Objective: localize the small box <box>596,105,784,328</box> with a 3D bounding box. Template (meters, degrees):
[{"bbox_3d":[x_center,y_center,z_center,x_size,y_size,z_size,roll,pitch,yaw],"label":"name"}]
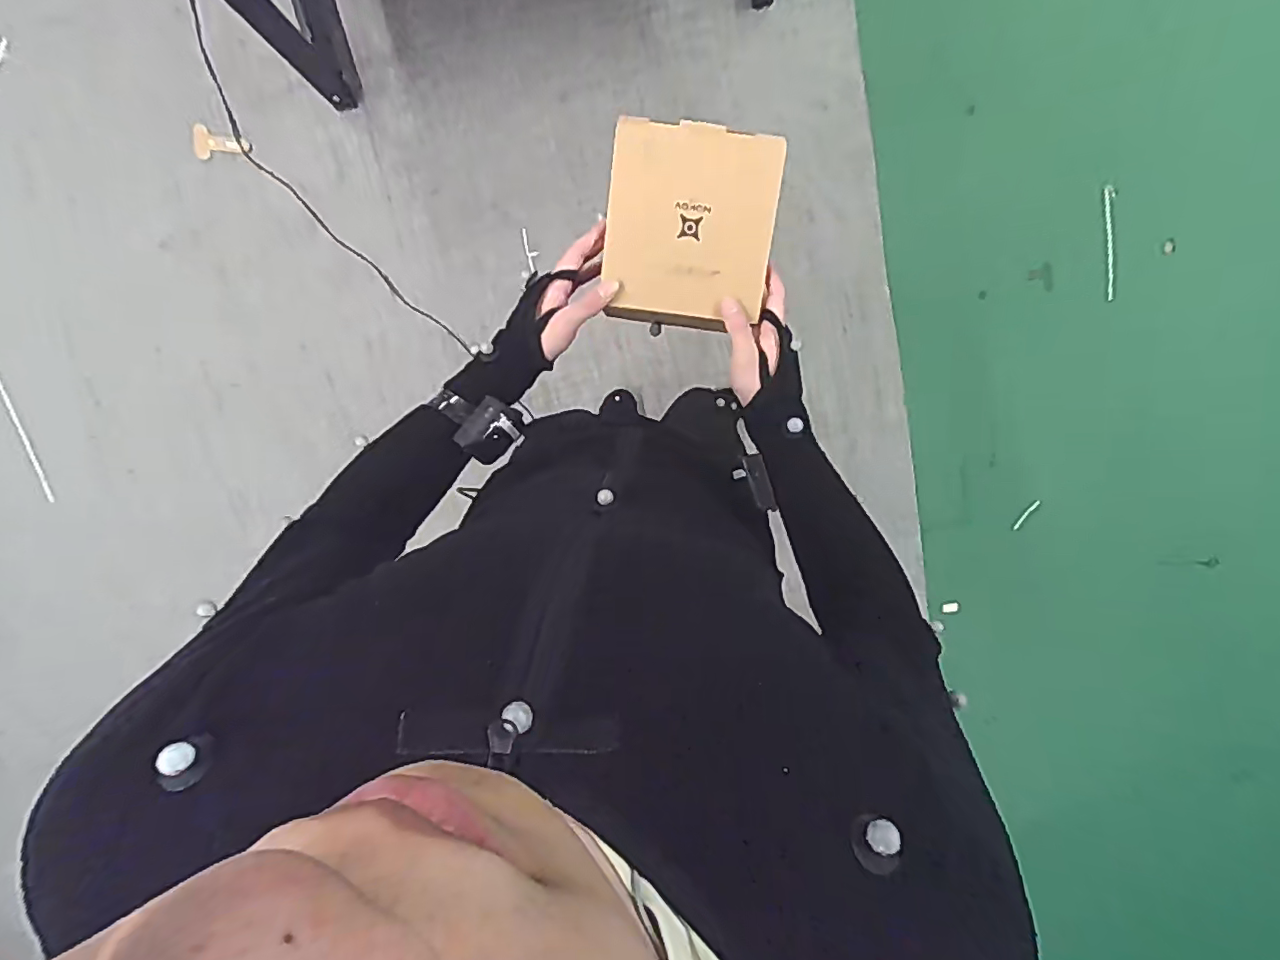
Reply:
[{"bbox_3d":[0.045,-0.274,0.604,0.168,0.176,0.179,7,102,-2],"label":"small box"}]
